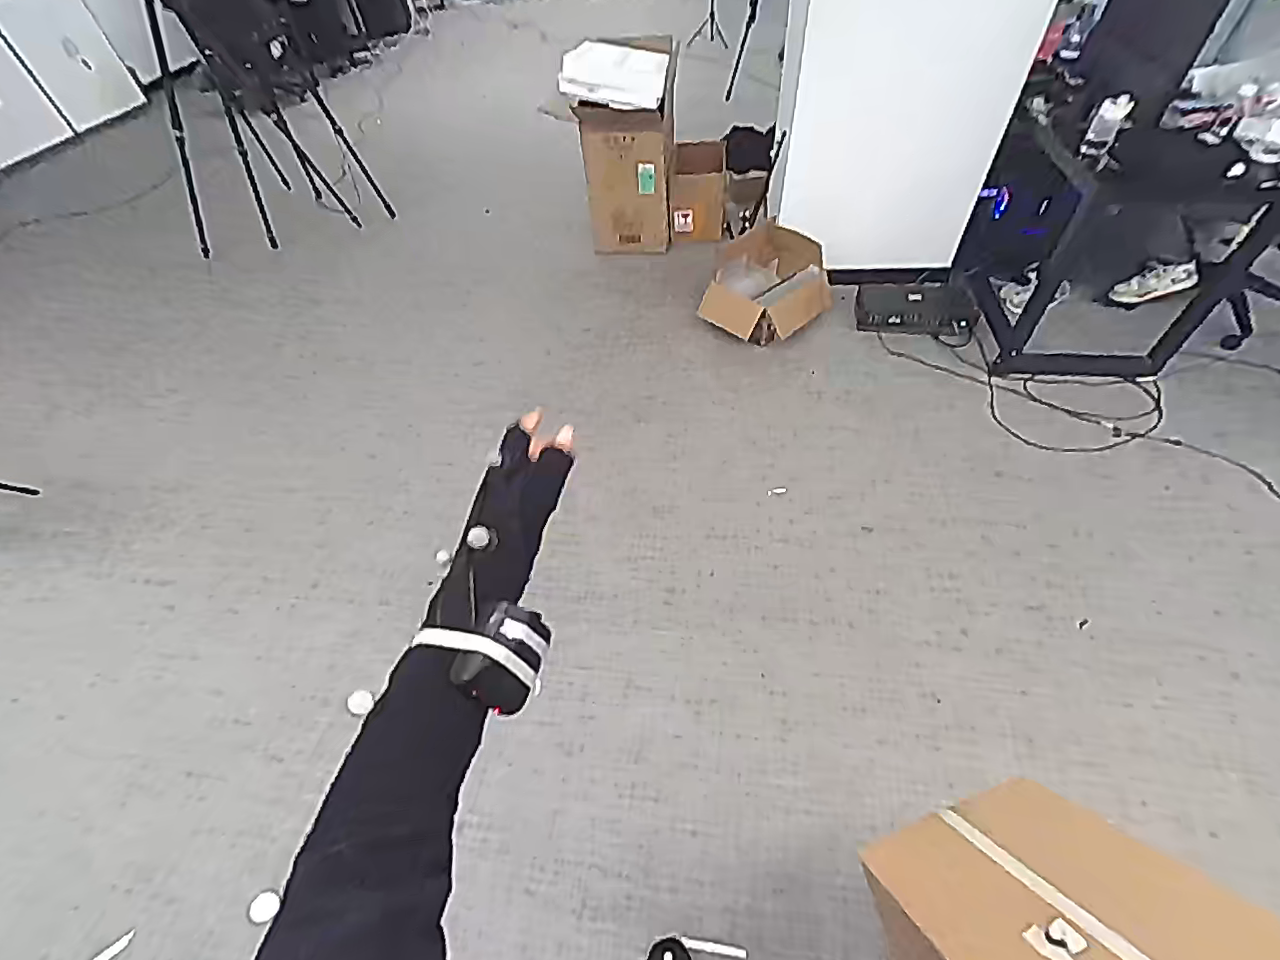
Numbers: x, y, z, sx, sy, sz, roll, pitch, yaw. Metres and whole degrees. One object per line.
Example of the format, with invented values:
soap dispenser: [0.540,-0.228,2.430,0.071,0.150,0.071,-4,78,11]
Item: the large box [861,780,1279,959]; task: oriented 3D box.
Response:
large box: [0.552,0.658,0.663,0.320,0.408,0.320,-19,87,-7]
